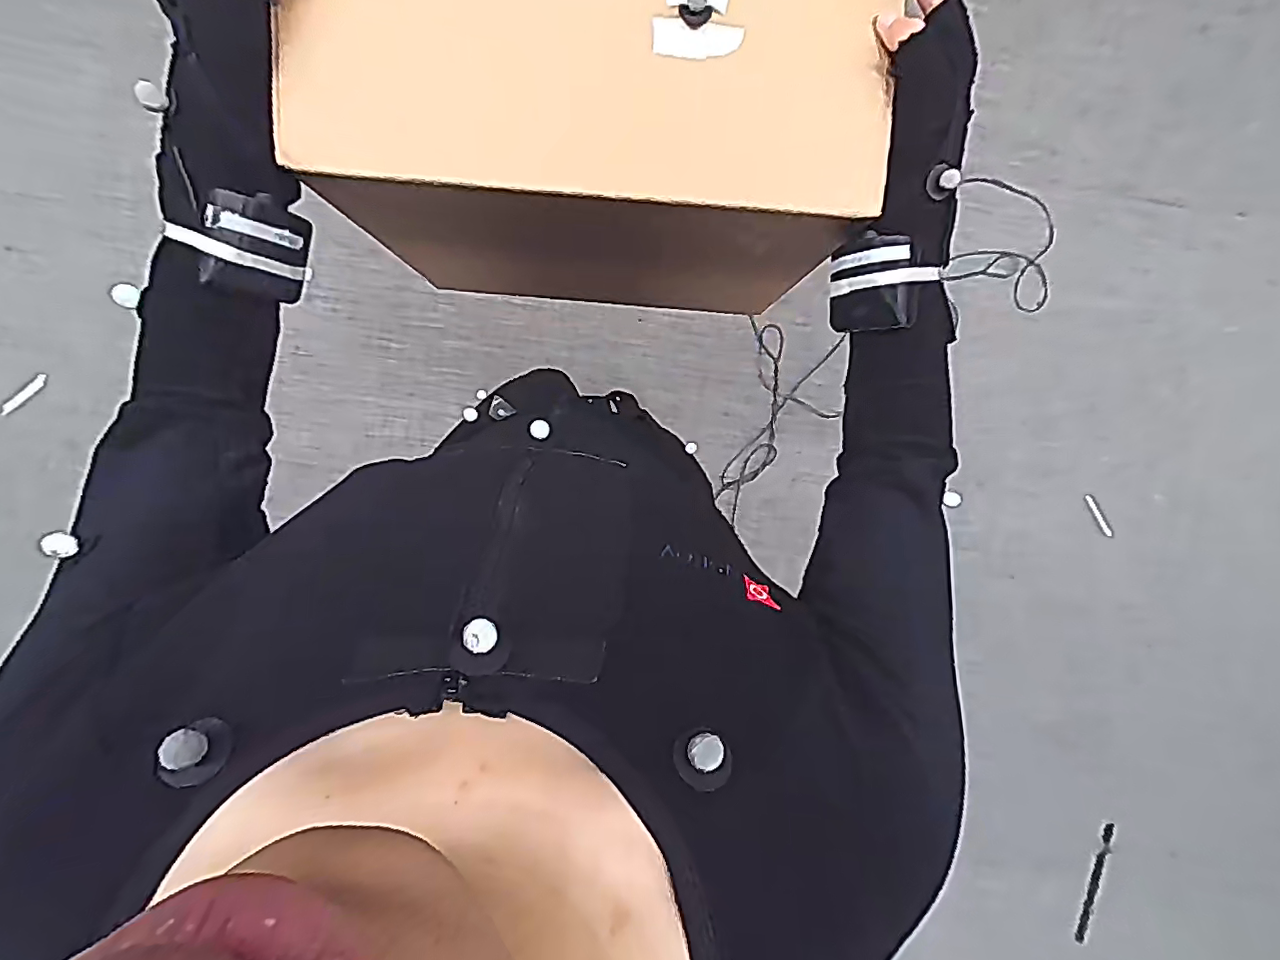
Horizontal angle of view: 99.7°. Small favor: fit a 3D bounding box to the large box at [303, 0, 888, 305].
[{"bbox_3d":[-0.032,-0.367,0.514,0.408,0.320,0.320,3,95,-3],"label":"large box"}]
